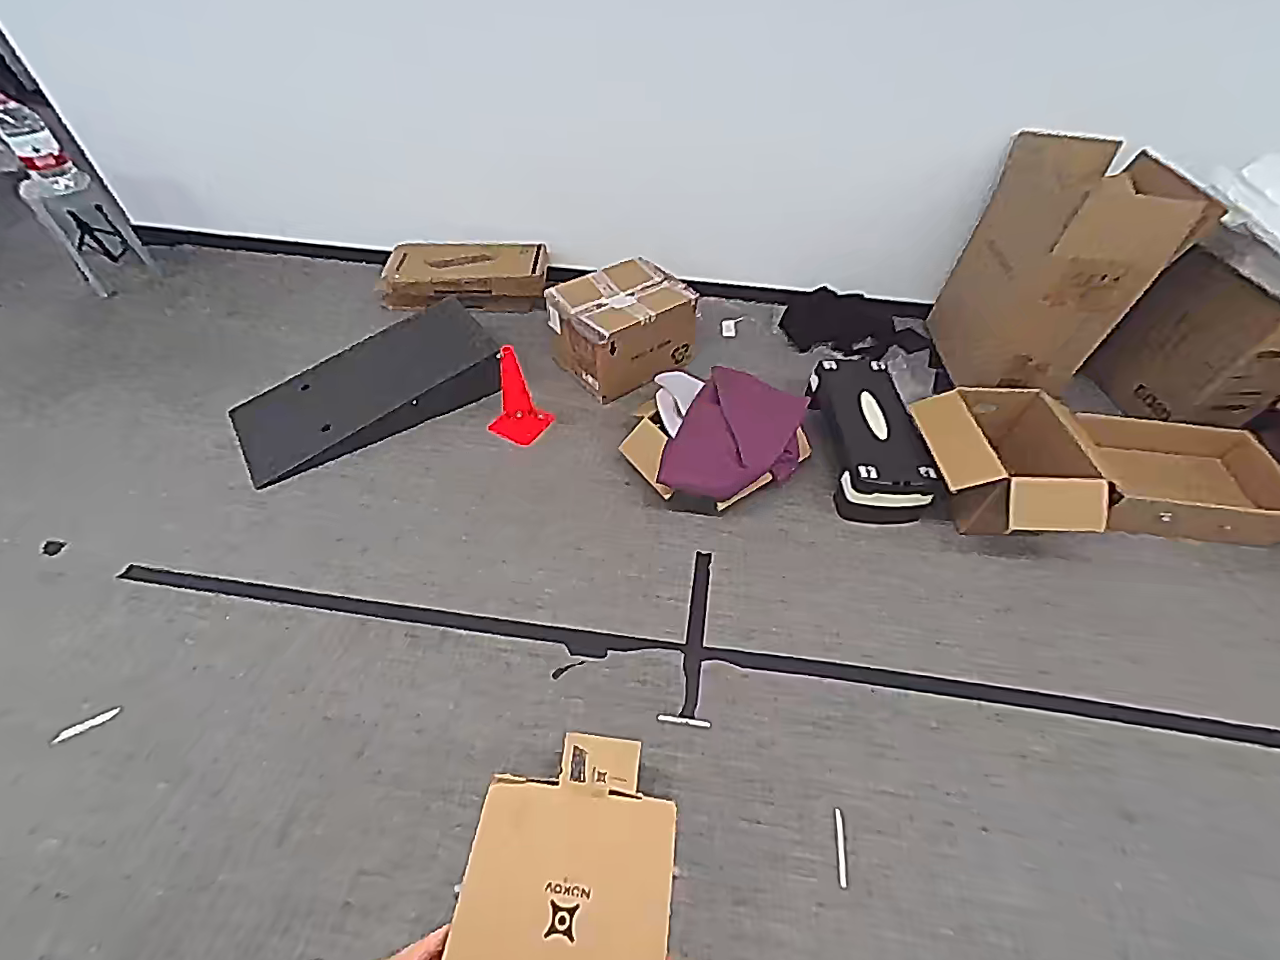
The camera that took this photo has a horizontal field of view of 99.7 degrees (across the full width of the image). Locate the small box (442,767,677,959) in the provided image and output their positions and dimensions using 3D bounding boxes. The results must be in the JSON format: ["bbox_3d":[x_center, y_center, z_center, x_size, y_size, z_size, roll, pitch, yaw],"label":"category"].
[{"bbox_3d":[-0.065,0.381,0.482,0.168,0.176,0.179,8,51,2],"label":"small box"}]

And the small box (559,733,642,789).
[{"bbox_3d":[-0.091,0.703,1.241,0.179,0.176,0.168,6,49,3],"label":"small box"}]
